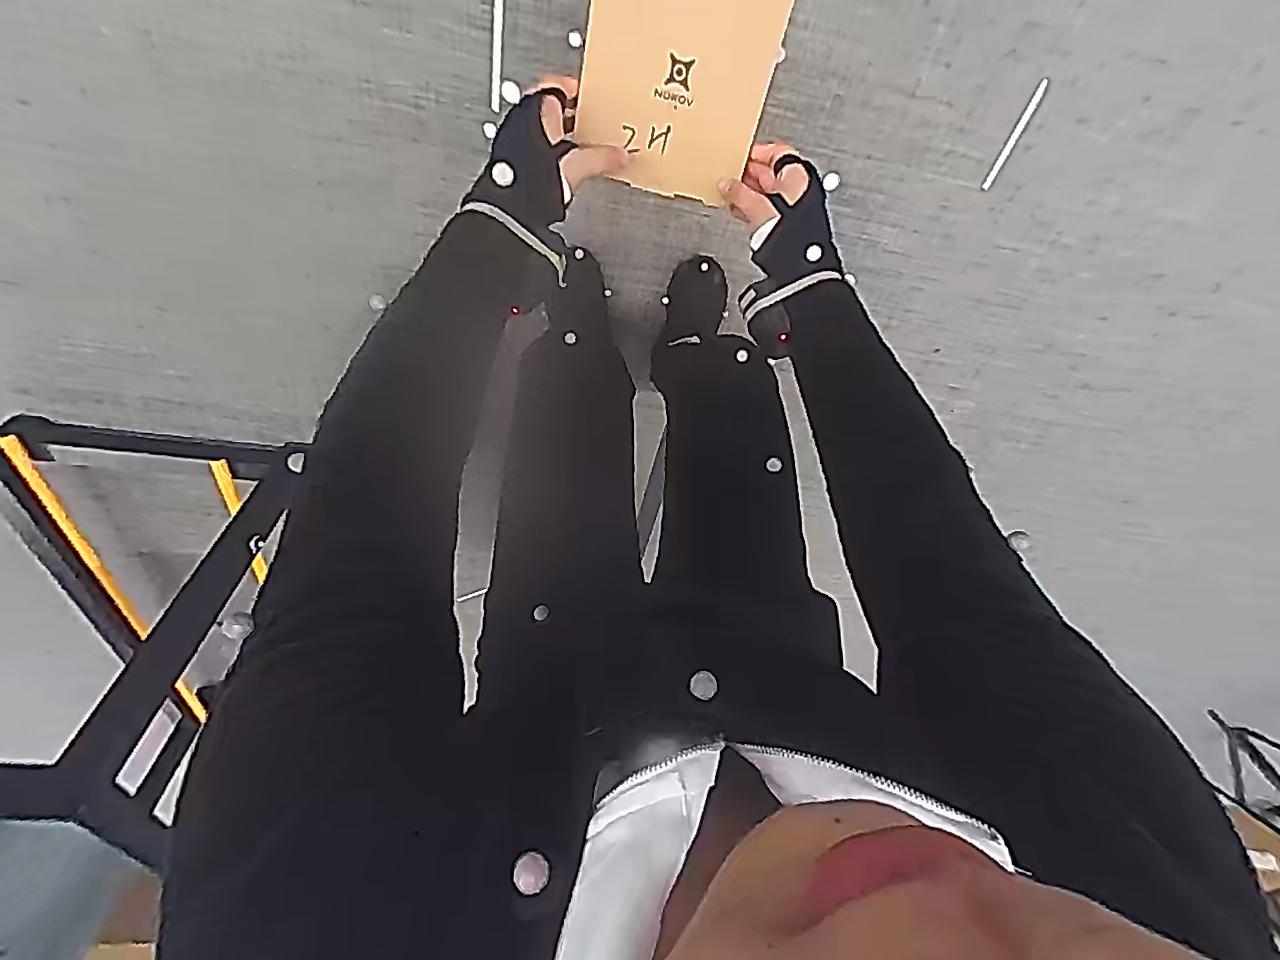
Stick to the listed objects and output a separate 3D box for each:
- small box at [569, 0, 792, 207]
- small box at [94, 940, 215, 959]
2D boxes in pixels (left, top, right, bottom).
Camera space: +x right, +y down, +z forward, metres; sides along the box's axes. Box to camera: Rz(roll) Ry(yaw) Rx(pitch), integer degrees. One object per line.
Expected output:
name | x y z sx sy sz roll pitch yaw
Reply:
small box | 0.023 -0.402 0.540 0.168 0.176 0.179 8 127 -12
small box | -1.025 1.061 1.098 0.179 0.176 0.168 3 132 -7
